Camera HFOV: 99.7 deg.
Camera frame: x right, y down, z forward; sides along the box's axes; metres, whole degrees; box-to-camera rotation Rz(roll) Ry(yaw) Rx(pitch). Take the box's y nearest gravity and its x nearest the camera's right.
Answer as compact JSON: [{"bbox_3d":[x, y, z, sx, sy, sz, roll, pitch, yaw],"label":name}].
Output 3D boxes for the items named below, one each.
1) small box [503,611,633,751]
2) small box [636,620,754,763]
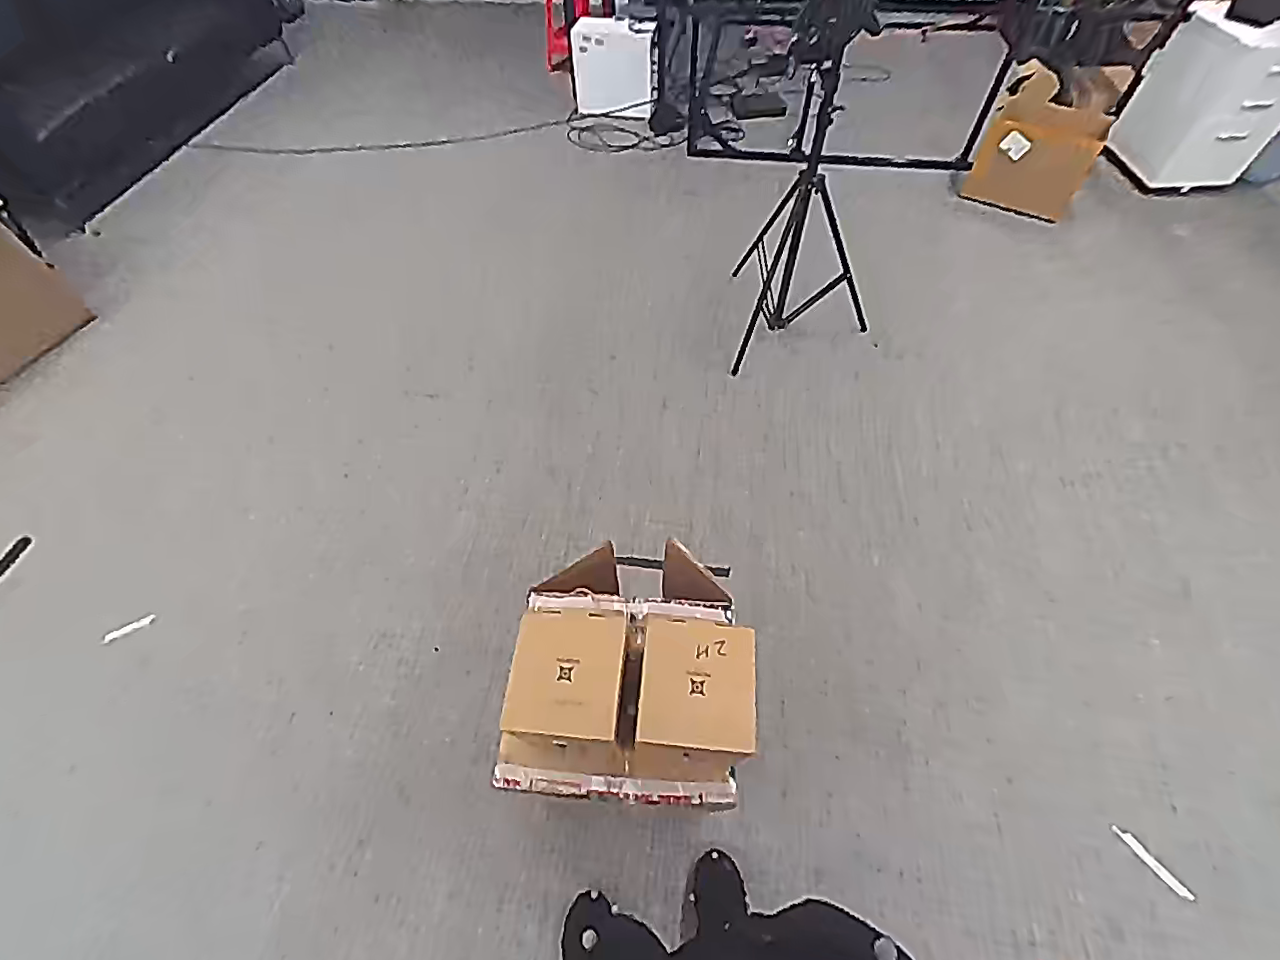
[{"bbox_3d":[-0.102,0.324,0.865,0.168,0.176,0.179,2,60,5],"label":"small box"},{"bbox_3d":[0.085,0.337,0.850,0.168,0.176,0.179,5,58,3],"label":"small box"}]
